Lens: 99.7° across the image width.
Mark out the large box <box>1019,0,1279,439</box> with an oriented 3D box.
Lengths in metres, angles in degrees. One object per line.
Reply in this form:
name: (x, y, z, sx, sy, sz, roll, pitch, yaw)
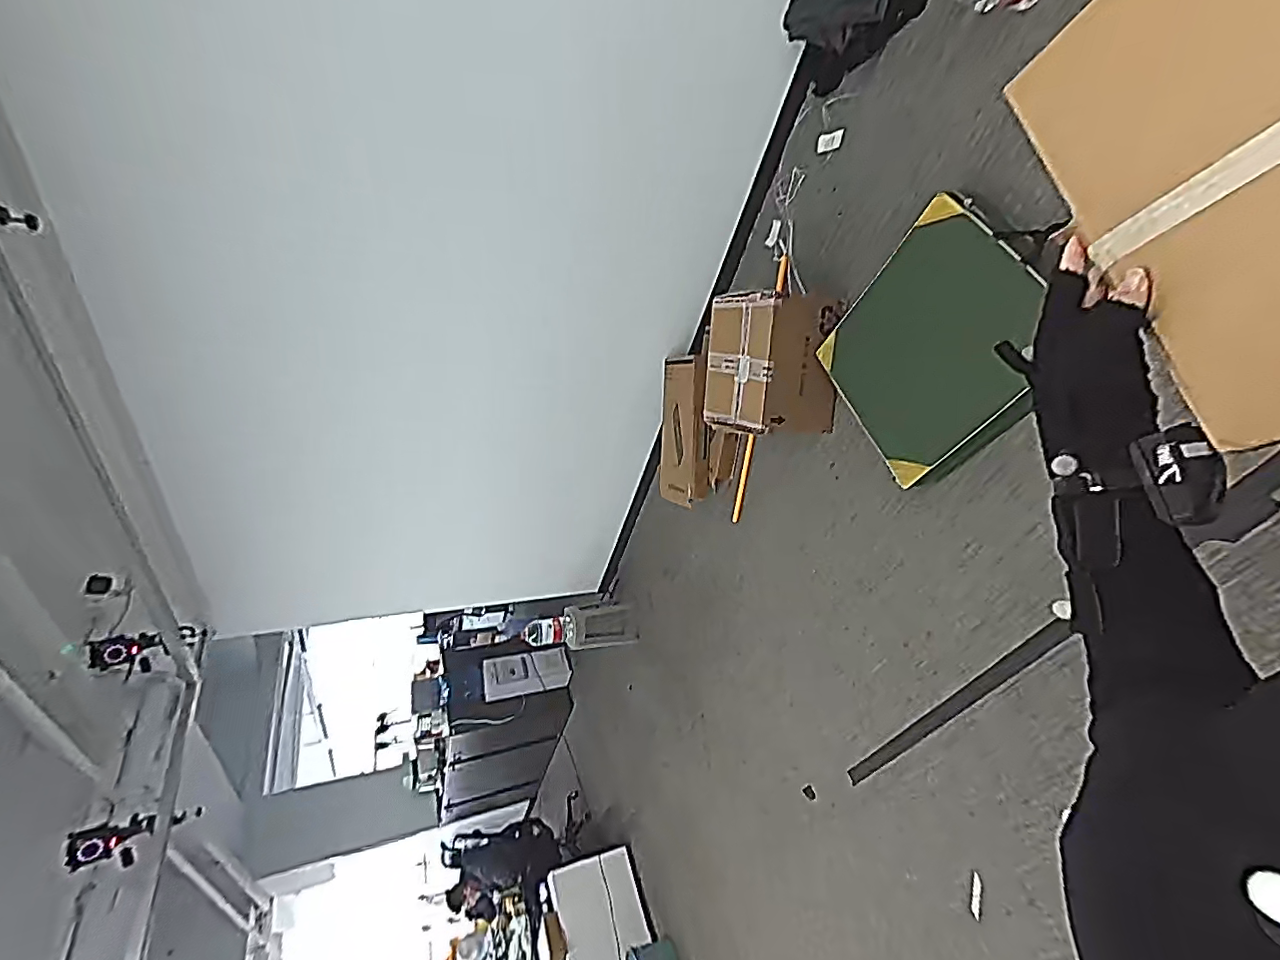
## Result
large box: (0.541, -0.251, 0.285, 0.408, 0.320, 0.320, -42, 61, 58)
